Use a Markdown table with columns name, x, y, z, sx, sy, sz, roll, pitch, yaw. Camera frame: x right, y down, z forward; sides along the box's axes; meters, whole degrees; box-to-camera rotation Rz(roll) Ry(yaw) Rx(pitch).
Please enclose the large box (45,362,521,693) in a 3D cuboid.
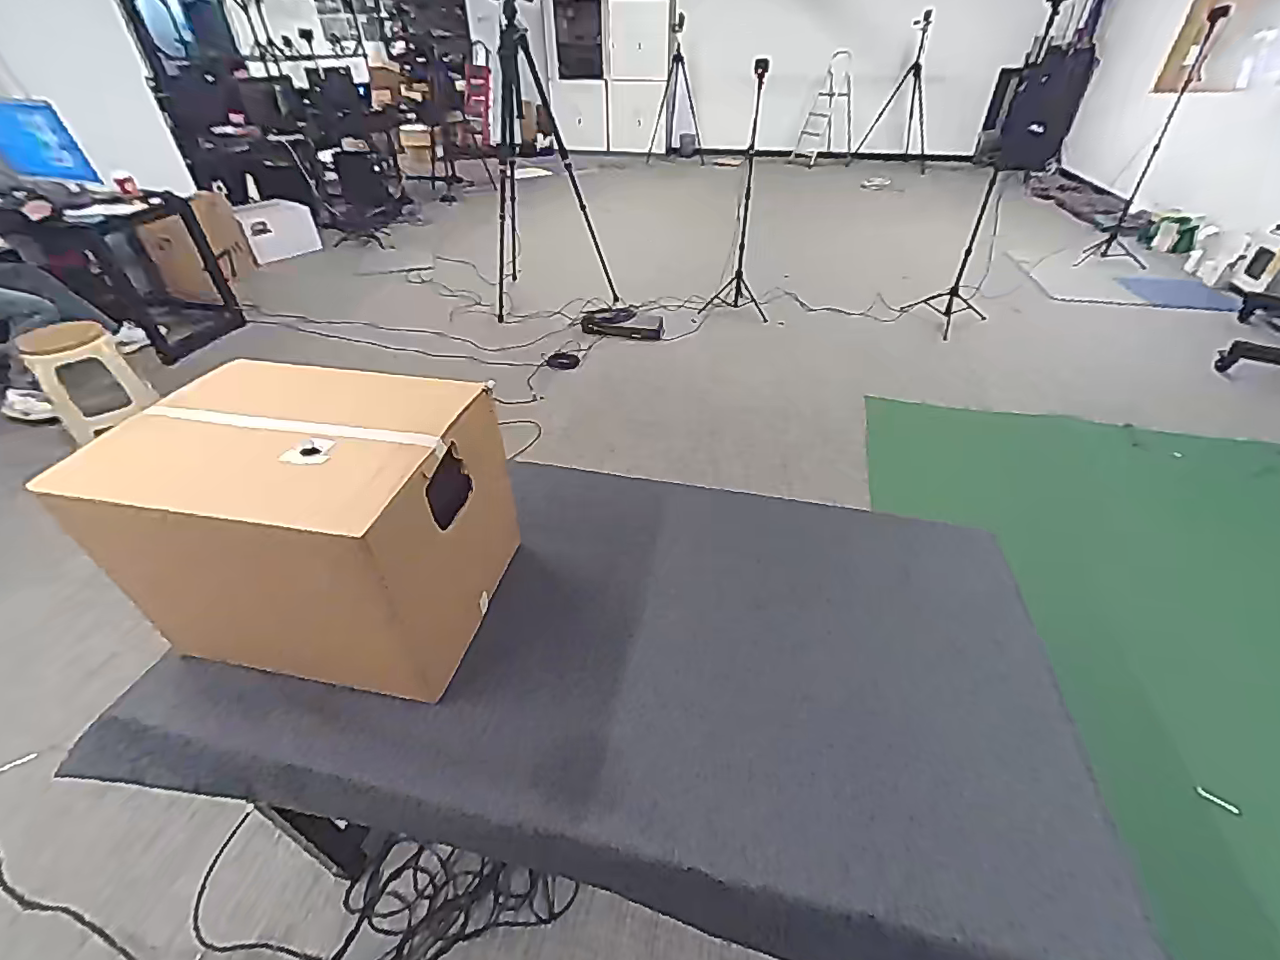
| name | x | y | z | sx | sy | sz | roll | pitch | yaw |
| --- | --- | --- | --- | --- | --- | --- | --- | --- | --- |
| large box | -0.423 | 0.055 | 0.762 | 0.408 | 0.320 | 0.320 | 7 | 40 | 7 |
